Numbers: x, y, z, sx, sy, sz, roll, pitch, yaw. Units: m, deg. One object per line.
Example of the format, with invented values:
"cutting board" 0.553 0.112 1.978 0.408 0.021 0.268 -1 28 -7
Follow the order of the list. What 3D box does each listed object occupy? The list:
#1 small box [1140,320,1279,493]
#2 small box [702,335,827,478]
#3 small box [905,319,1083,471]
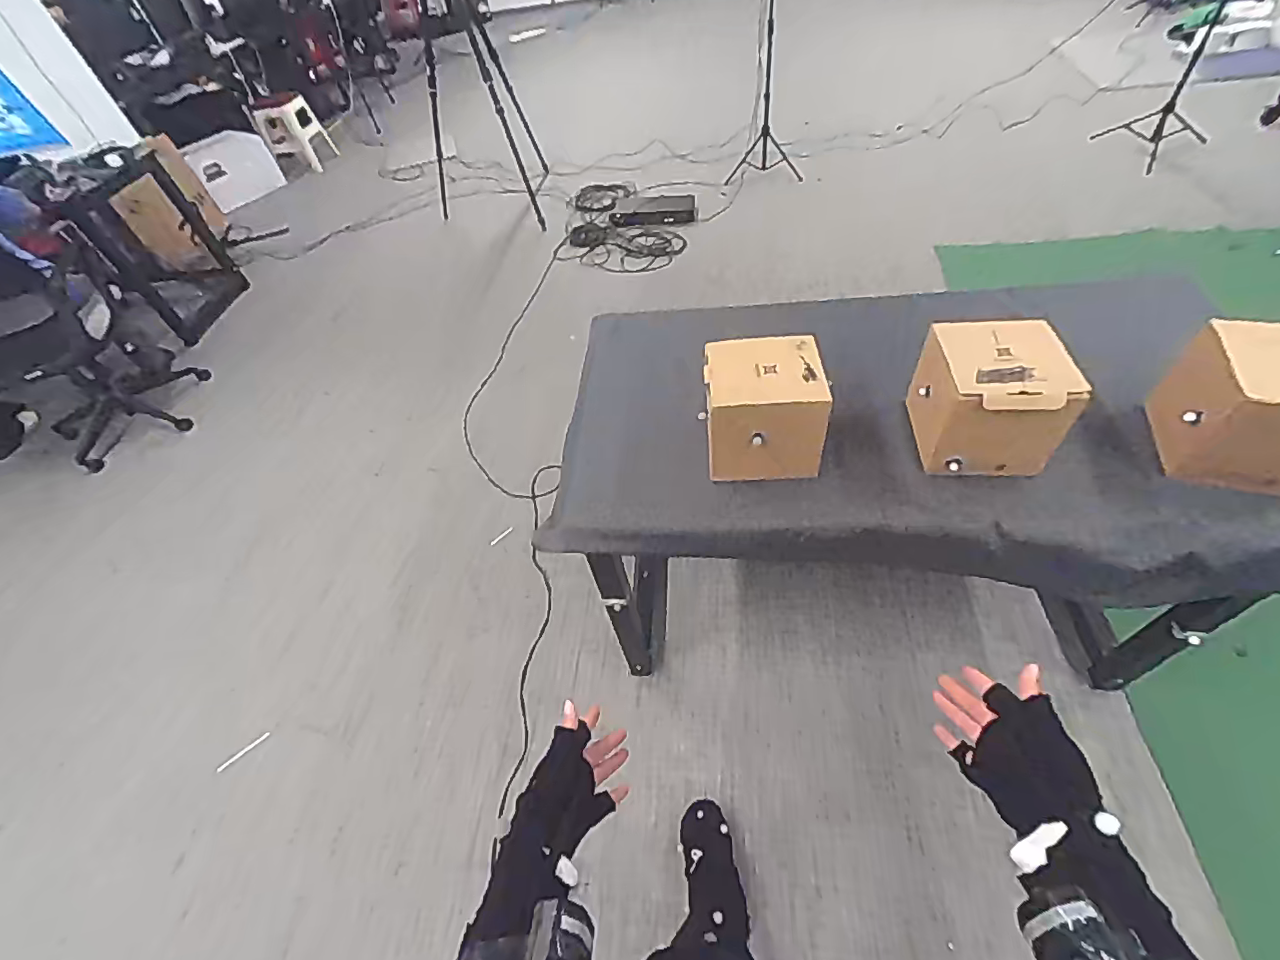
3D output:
"small box" 0.873 -0.103 0.773 0.168 0.176 0.179 11 52 17
"small box" 0.198 -0.116 0.891 0.179 0.176 0.168 -3 49 7
"small box" 0.535 -0.129 0.848 0.168 0.176 0.179 1 50 10
